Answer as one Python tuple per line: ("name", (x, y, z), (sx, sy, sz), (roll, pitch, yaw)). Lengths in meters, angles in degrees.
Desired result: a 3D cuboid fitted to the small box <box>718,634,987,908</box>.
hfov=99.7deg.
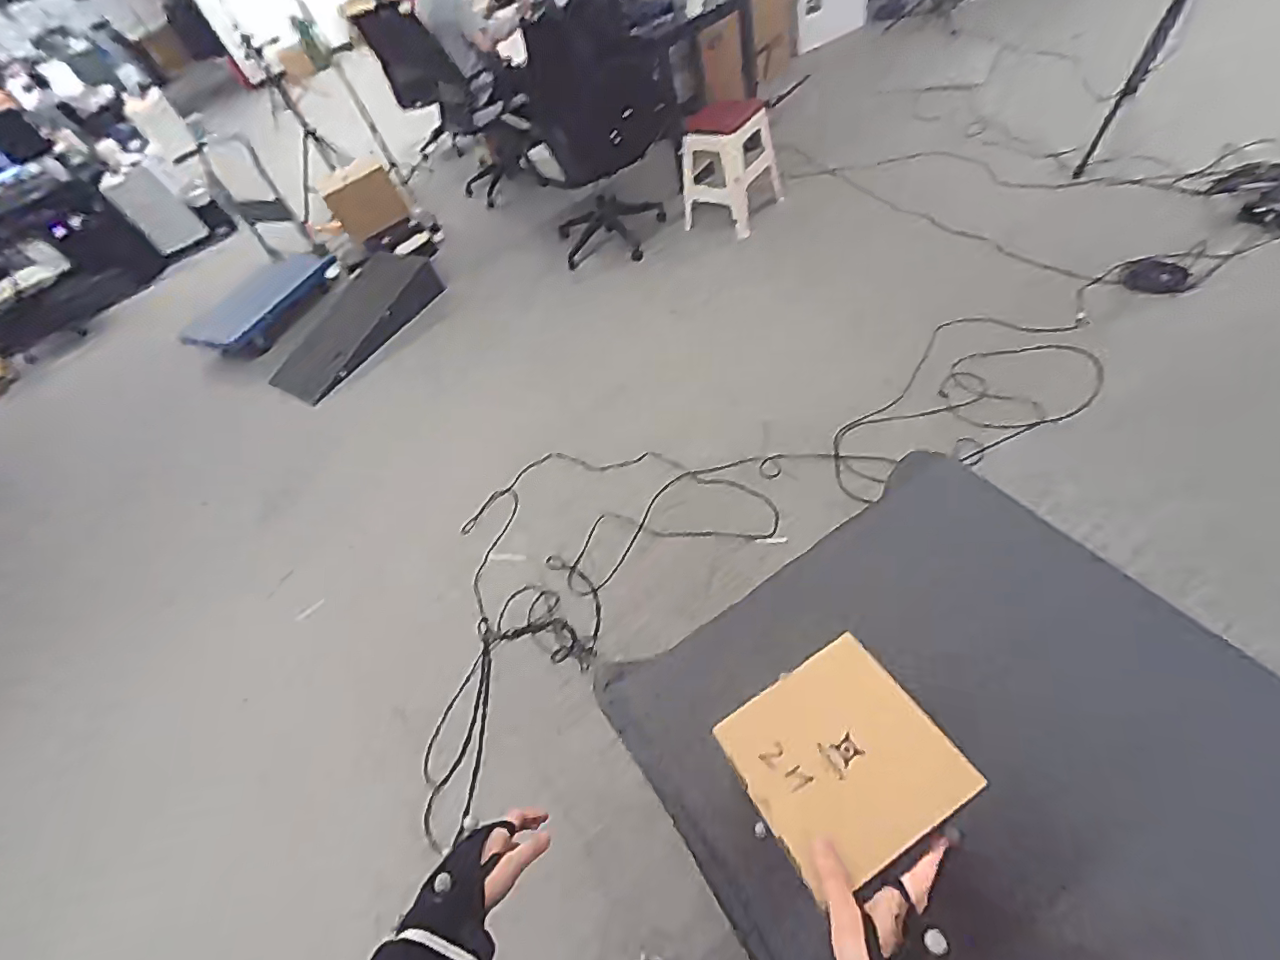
("small box", (0.201, 0.297, 0.556), (0.179, 0.176, 0.168), (-31, 51, -9))
